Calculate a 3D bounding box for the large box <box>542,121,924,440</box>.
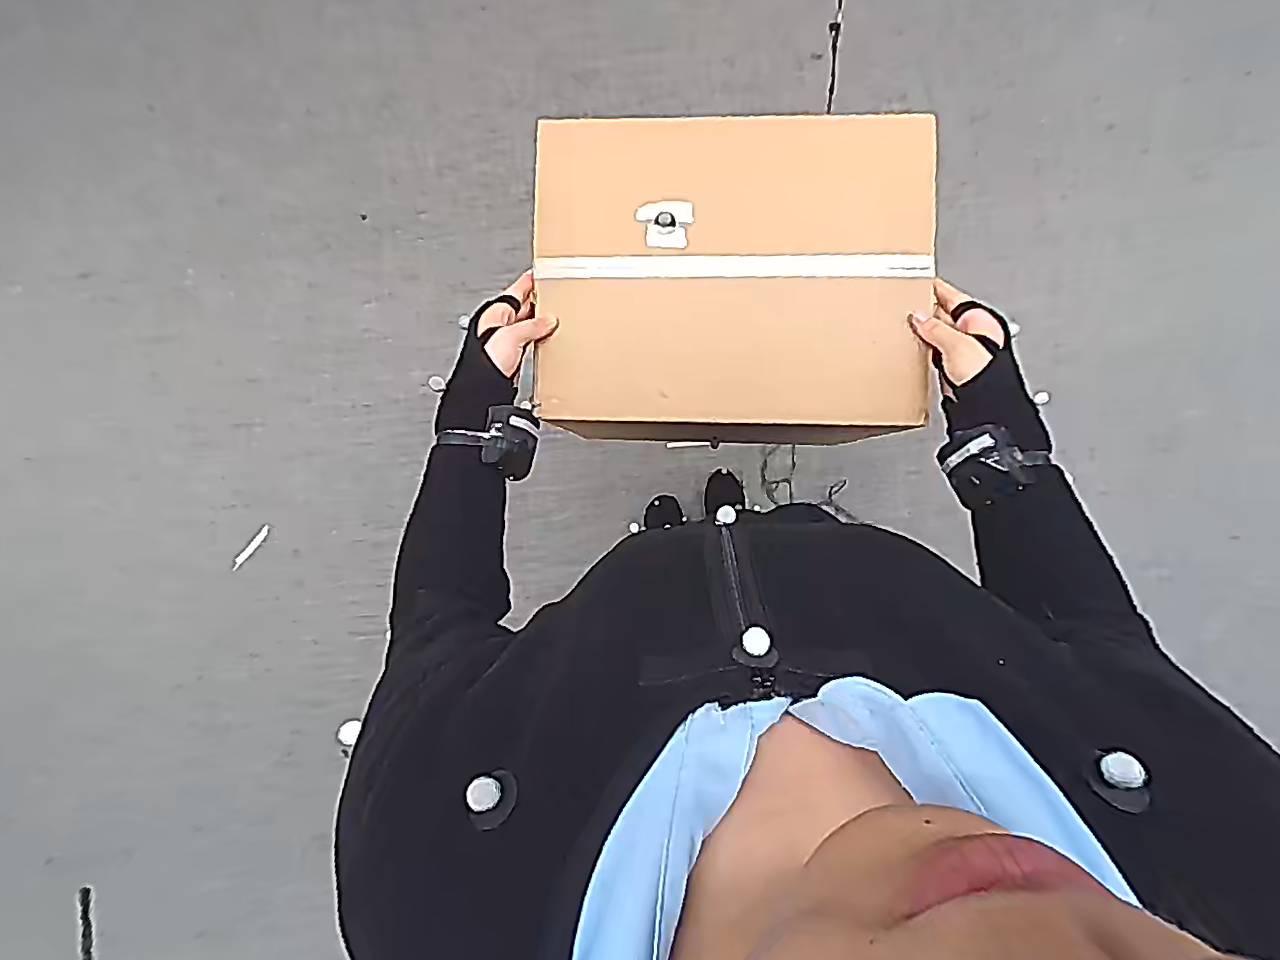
[{"bbox_3d":[0.105,-0.215,0.716,0.408,0.320,0.320,1,89,4],"label":"large box"}]
